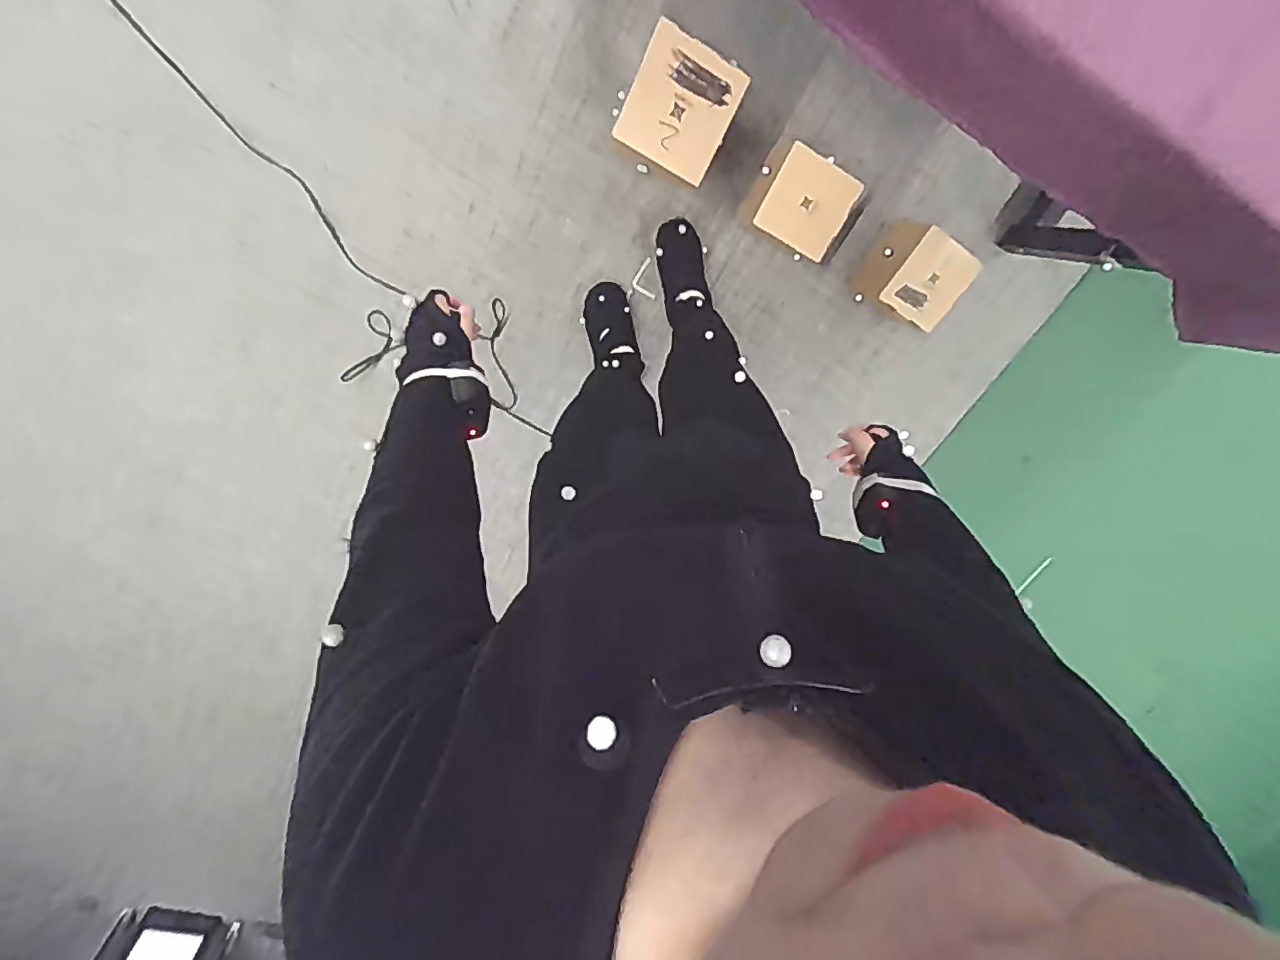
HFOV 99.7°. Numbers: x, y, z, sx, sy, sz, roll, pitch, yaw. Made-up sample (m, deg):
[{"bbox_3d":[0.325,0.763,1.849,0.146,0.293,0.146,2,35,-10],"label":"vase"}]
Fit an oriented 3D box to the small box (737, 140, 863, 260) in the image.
[{"bbox_3d":[0.333,-0.600,1.171,0.179,0.176,0.168,23,114,-16],"label":"small box"}]
